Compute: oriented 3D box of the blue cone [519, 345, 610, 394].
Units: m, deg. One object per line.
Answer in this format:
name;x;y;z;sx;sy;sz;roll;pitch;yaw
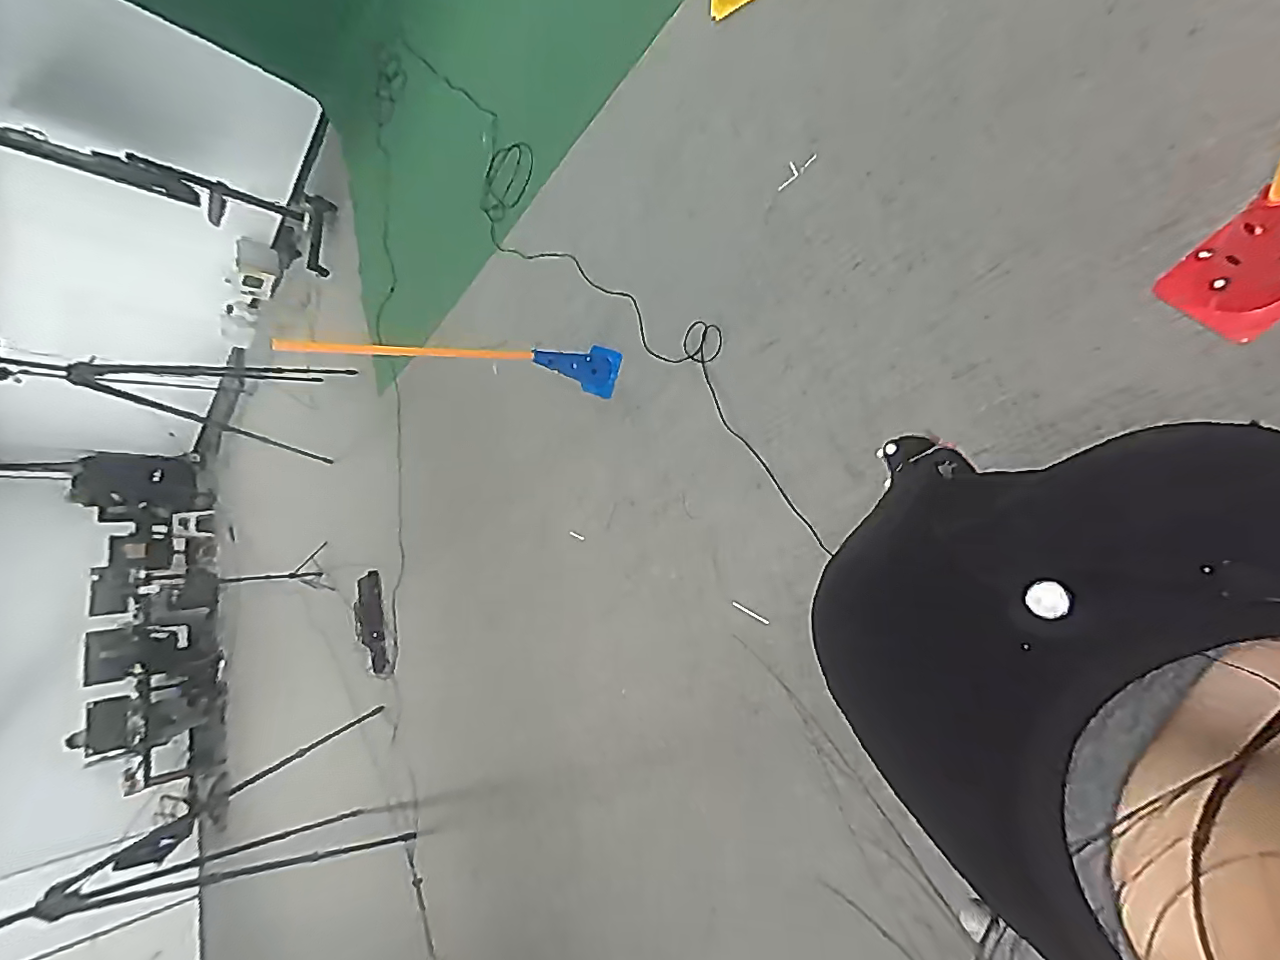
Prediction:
blue cone;-0.308;-0.461;2.131;0.192;0.380;0.193;25;106;39
